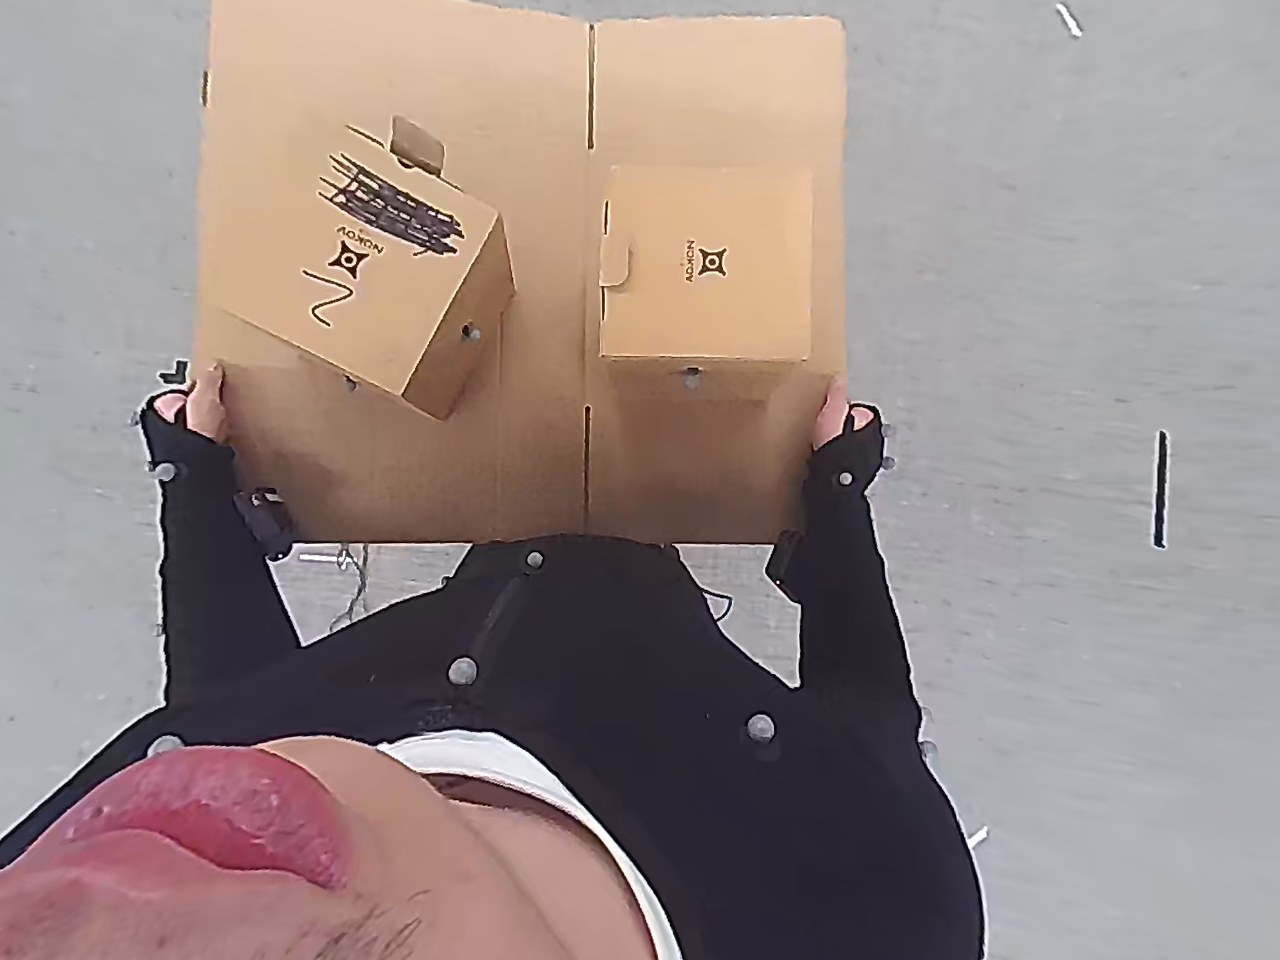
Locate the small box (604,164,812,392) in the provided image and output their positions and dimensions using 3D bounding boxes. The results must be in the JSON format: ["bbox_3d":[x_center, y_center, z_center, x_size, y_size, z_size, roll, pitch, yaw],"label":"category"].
[{"bbox_3d":[0.061,-0.187,0.544,0.179,0.176,0.168,1,88,3],"label":"small box"}]
